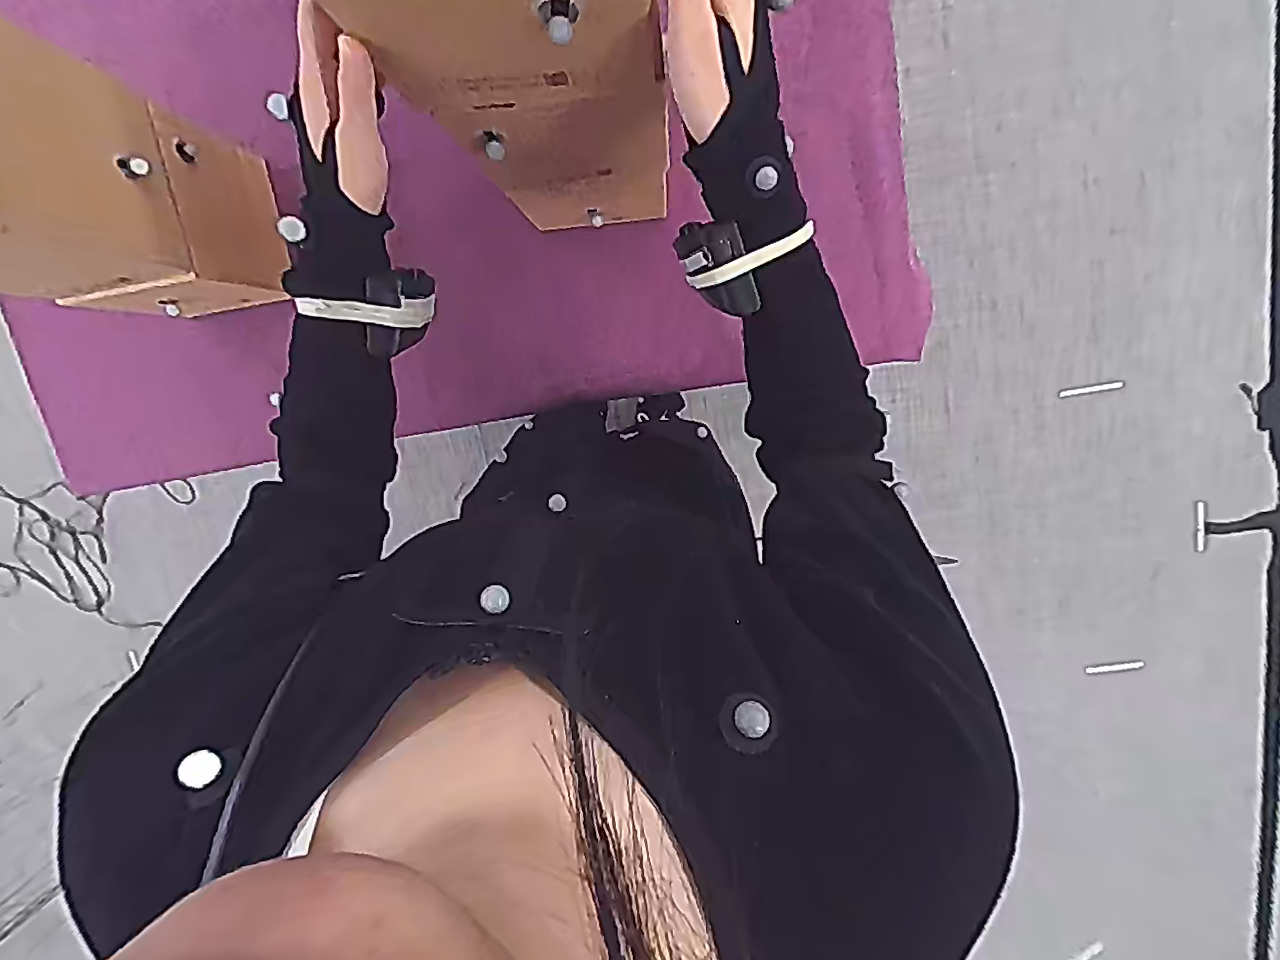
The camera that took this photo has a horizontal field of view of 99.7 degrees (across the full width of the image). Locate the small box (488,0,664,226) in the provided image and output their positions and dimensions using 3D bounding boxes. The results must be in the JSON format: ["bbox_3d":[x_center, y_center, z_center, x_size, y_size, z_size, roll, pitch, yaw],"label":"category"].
[{"bbox_3d":[-0.060,-0.397,0.588,0.168,0.176,0.179,-4,101,5],"label":"small box"}]

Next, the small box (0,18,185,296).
[{"bbox_3d":[-0.562,-0.275,0.473,0.168,0.176,0.179,-9,100,5],"label":"small box"}]

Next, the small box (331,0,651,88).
[{"bbox_3d":[-0.080,-0.328,0.269,0.168,0.176,0.179,-2,99,2],"label":"small box"}]

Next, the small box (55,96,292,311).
[{"bbox_3d":[-0.553,-0.302,0.634,0.168,0.176,0.179,-8,100,5],"label":"small box"}]
